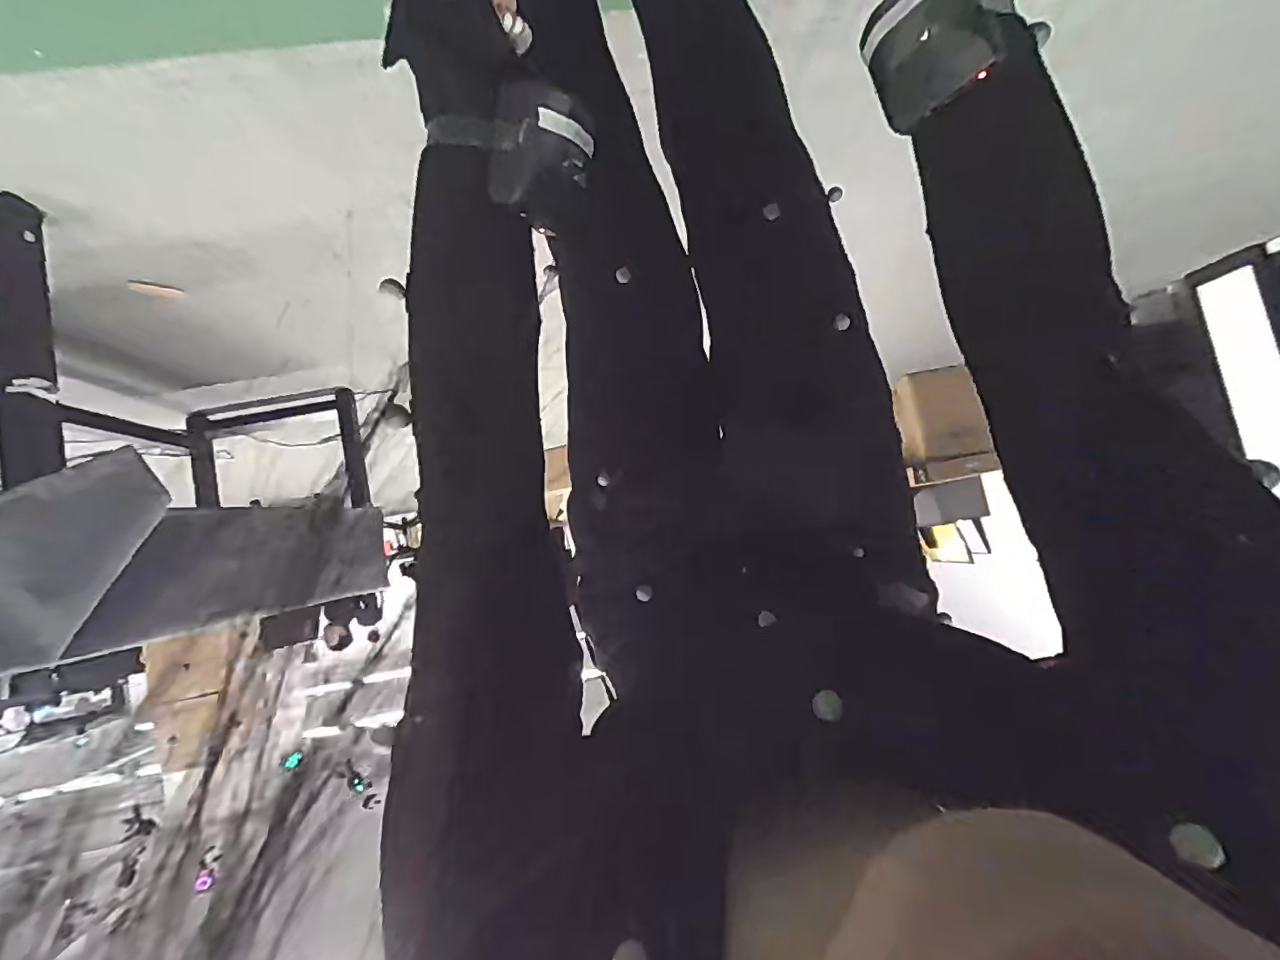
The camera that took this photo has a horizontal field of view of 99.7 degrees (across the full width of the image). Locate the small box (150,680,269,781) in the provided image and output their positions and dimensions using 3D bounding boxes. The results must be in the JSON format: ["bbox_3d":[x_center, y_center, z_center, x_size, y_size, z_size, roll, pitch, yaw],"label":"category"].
[{"bbox_3d":[-1.073,0.614,1.350,0.168,0.176,0.179,-9,174,-3],"label":"small box"}]

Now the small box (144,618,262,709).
[{"bbox_3d":[-1.099,0.453,1.363,0.179,0.176,0.168,-11,174,-5],"label":"small box"}]

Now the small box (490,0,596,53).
[{"bbox_3d":[-0.097,-0.585,0.521,0.179,0.176,0.168,24,163,-32],"label":"small box"}]
